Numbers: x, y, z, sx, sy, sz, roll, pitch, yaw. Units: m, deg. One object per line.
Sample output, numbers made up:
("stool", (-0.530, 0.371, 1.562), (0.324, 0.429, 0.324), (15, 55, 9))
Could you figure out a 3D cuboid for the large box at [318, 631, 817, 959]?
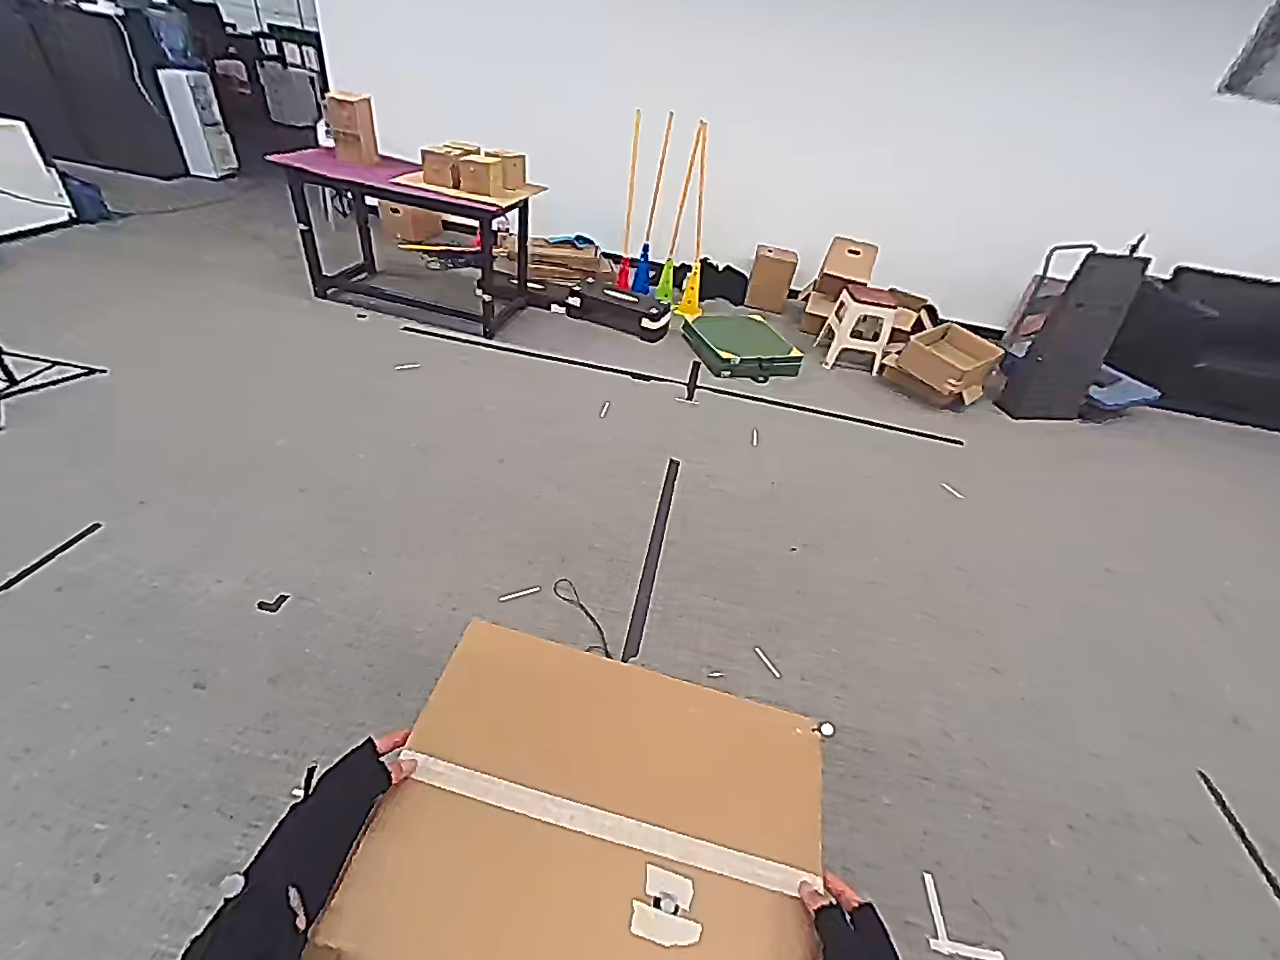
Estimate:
("large box", (-0.052, 0.428, 0.614), (0.408, 0.320, 0.320), (16, 46, 3))
